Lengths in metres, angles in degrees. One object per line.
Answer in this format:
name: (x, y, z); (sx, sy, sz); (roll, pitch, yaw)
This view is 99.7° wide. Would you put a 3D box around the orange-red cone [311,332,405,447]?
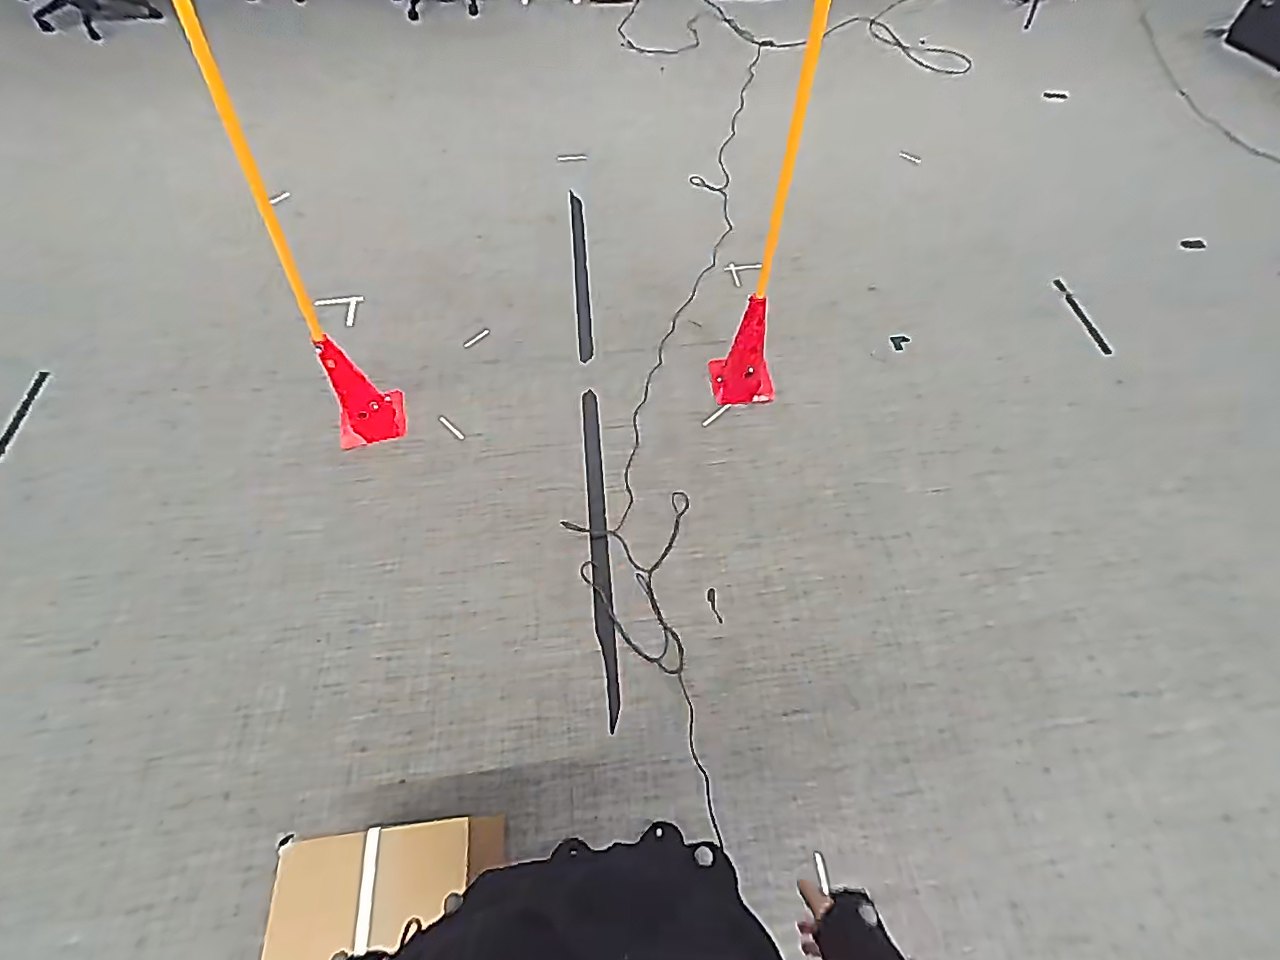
orange-red cone: (-0.858, -0.288, 1.587); (0.199, 0.360, 0.198); (-14, 59, -7)
